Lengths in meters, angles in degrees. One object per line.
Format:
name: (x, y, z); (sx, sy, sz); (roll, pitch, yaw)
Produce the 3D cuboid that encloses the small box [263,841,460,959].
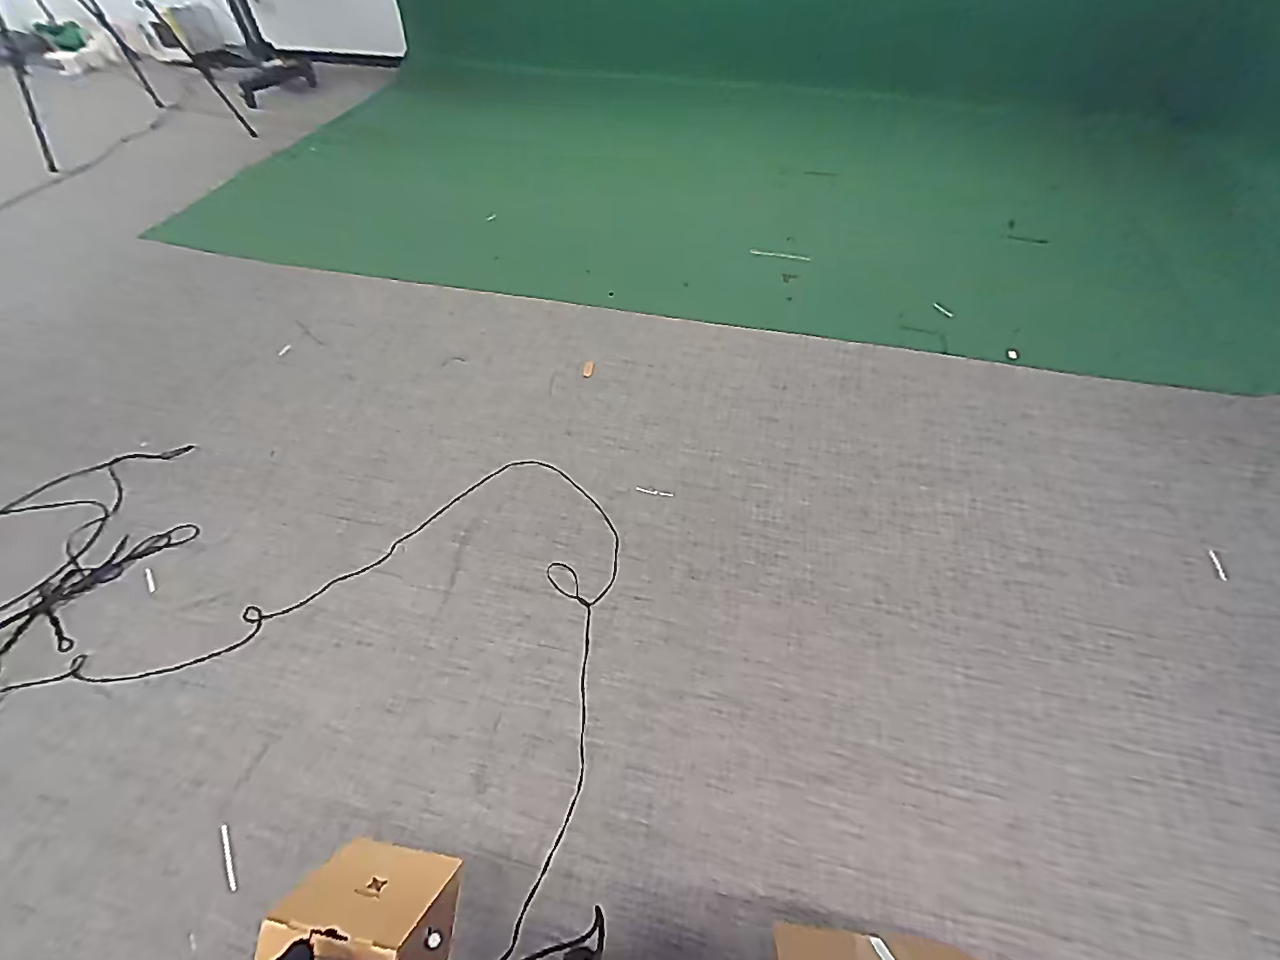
small box: (-0.352, 0.601, 0.678); (0.168, 0.179, 0.176); (7, 84, 6)
